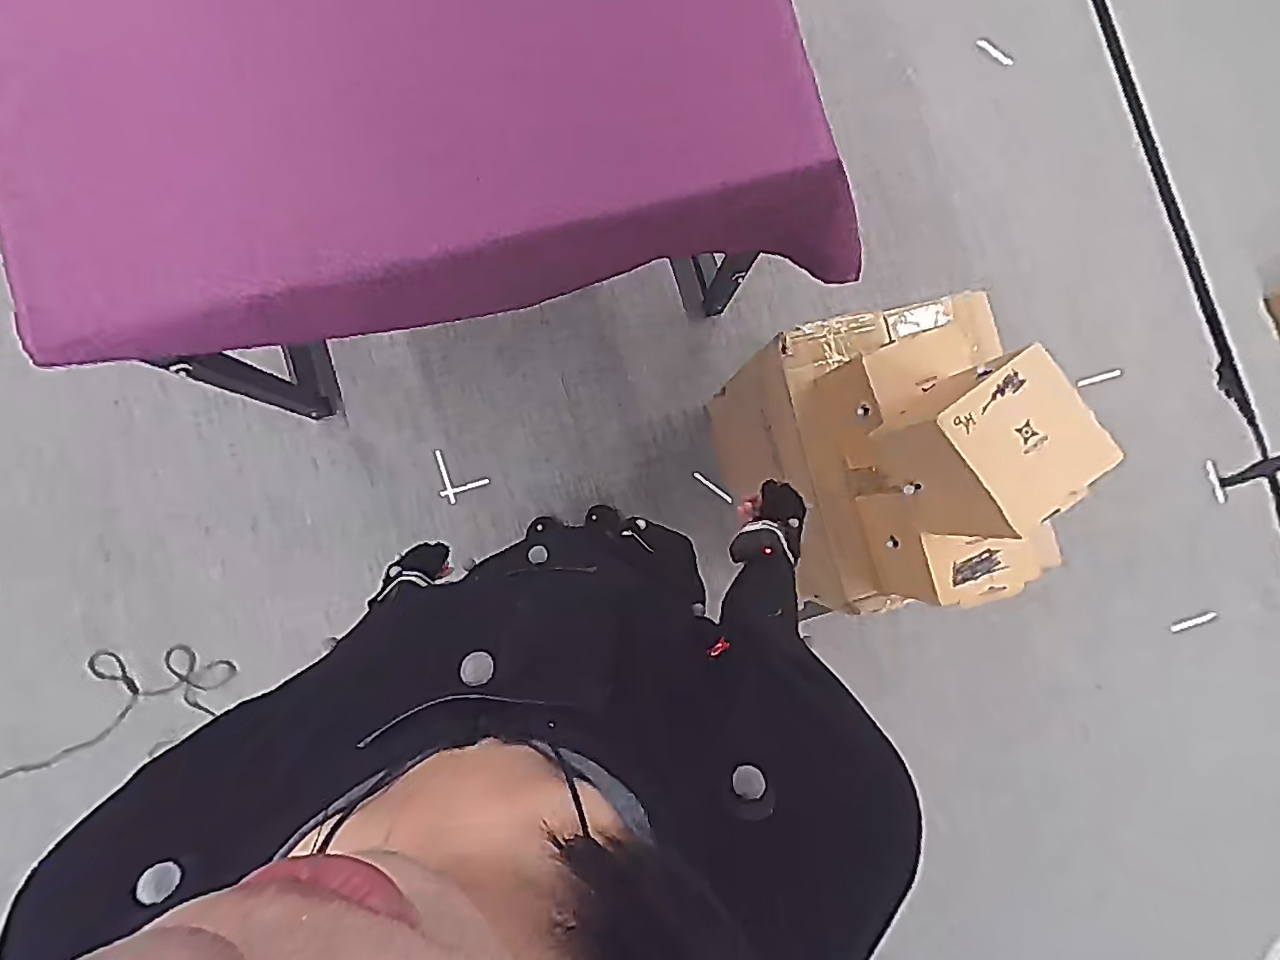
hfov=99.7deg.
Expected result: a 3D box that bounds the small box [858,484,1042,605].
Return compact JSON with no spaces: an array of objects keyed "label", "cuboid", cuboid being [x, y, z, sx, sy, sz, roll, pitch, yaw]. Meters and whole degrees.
[{"label":"small box","cuboid":[0.481,0.084,0.866,0.168,0.176,0.179,-15,85,-5]}]

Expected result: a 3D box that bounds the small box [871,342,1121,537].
[{"label":"small box","cuboid":[0.448,-0.046,0.709,0.168,0.176,0.179,-35,89,-6]}]

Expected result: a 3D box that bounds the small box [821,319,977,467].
[{"label":"small box","cuboid":[0.421,-0.131,0.877,0.168,0.176,0.179,-20,89,-4]}]
